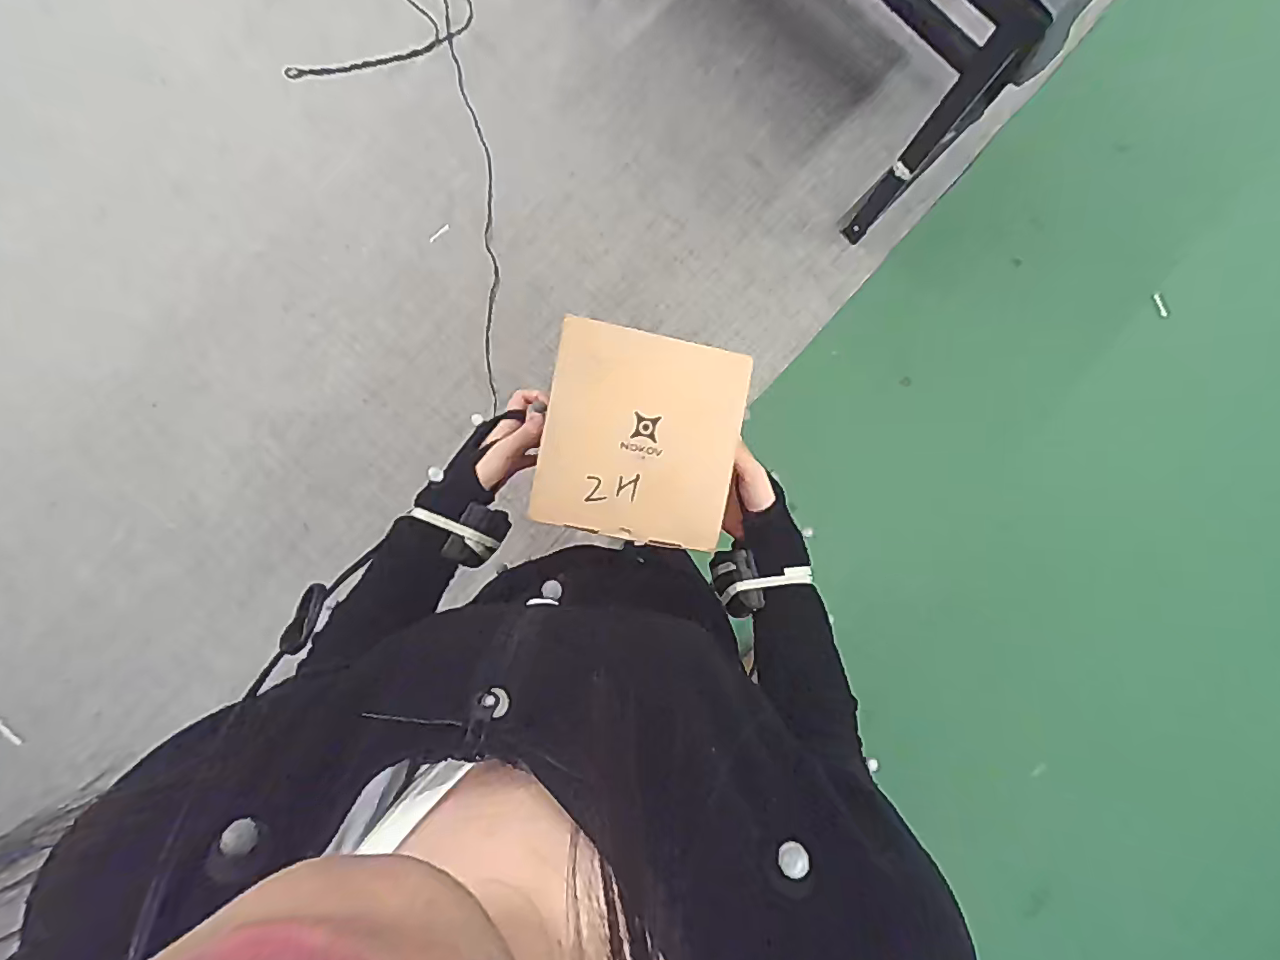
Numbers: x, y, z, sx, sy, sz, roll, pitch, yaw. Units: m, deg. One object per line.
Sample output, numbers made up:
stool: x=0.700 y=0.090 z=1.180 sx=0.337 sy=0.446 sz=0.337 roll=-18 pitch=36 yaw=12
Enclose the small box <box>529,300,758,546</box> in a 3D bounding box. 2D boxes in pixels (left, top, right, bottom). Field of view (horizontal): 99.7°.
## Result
small box: x=-0.006 y=-0.048 z=0.525 sx=0.168 sy=0.176 sz=0.179 roll=12 pitch=91 yaw=-7
